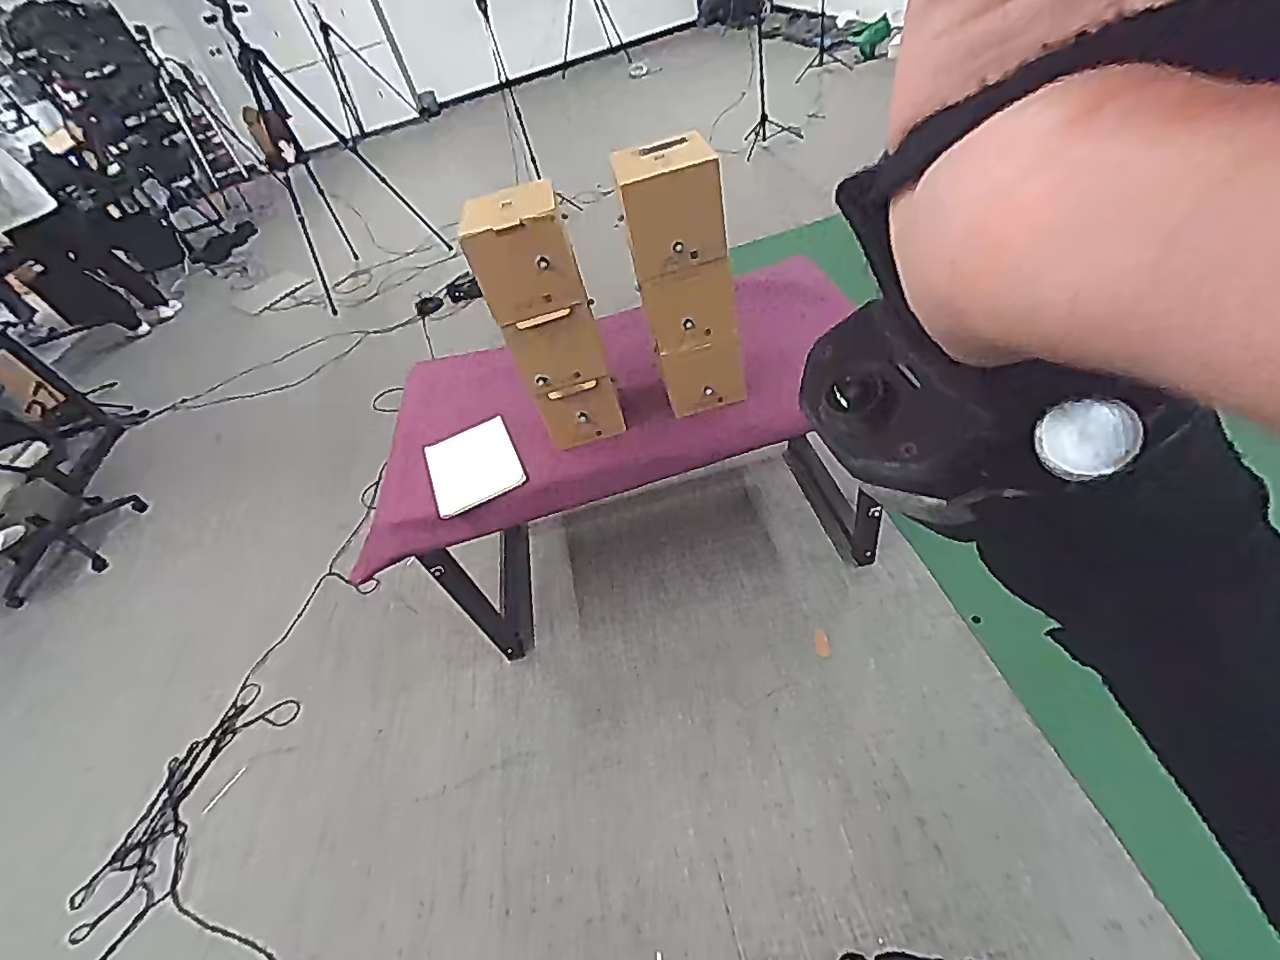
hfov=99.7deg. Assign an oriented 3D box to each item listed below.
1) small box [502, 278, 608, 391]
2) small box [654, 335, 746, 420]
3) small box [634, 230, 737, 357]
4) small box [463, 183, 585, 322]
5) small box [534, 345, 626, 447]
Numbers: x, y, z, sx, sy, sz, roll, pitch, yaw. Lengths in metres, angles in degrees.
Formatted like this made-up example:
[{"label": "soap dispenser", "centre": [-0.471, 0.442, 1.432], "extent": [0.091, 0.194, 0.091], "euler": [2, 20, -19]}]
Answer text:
[{"label": "small box", "centre": [-0.170, -0.300, 1.104], "extent": [0.168, 0.176, 0.179], "euler": [-15, 44, 2]}, {"label": "small box", "centre": [0.130, -0.263, 1.211], "extent": [0.168, 0.176, 0.179], "euler": [-16, 44, 3]}, {"label": "small box", "centre": [0.092, -0.378, 1.101], "extent": [0.168, 0.176, 0.179], "euler": [-15, 45, 2]}, {"label": "small box", "centre": [-0.203, -0.406, 0.985], "extent": [0.168, 0.176, 0.179], "euler": [-14, 45, 2]}, {"label": "small box", "centre": [-0.136, -0.193, 1.226], "extent": [0.168, 0.176, 0.179], "euler": [-15, 46, 2]}]
